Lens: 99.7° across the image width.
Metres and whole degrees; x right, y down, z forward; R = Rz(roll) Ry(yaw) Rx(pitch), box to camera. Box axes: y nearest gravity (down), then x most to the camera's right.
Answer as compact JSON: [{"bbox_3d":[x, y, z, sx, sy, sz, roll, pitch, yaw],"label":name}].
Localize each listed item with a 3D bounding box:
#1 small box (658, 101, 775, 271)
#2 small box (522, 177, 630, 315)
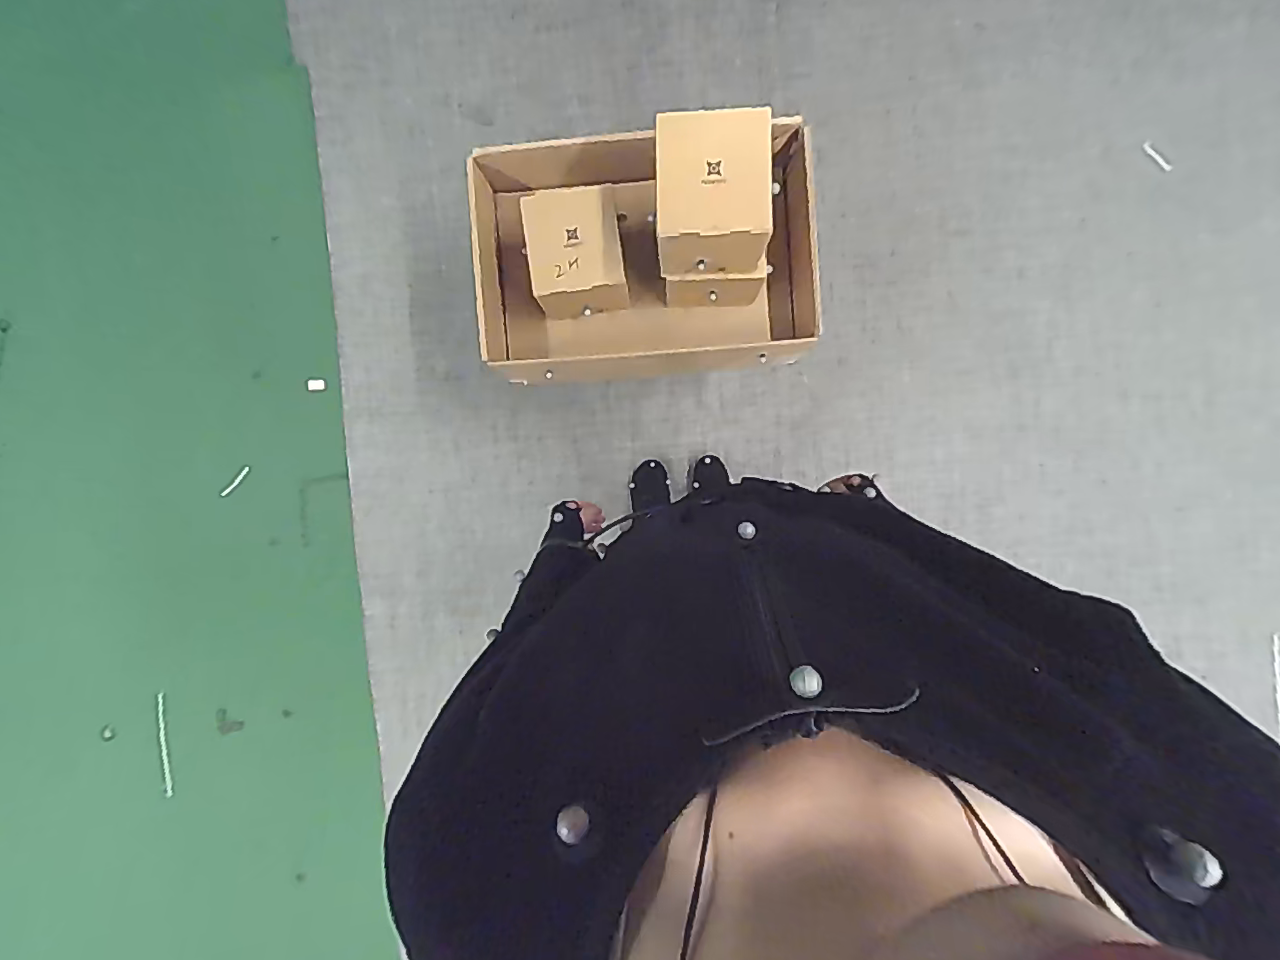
[{"bbox_3d":[0.112,-0.445,0.840,0.168,0.176,0.179,-1,91,4],"label":"small box"},{"bbox_3d":[-0.112,-0.428,1.012,0.168,0.176,0.179,-7,91,2],"label":"small box"}]
